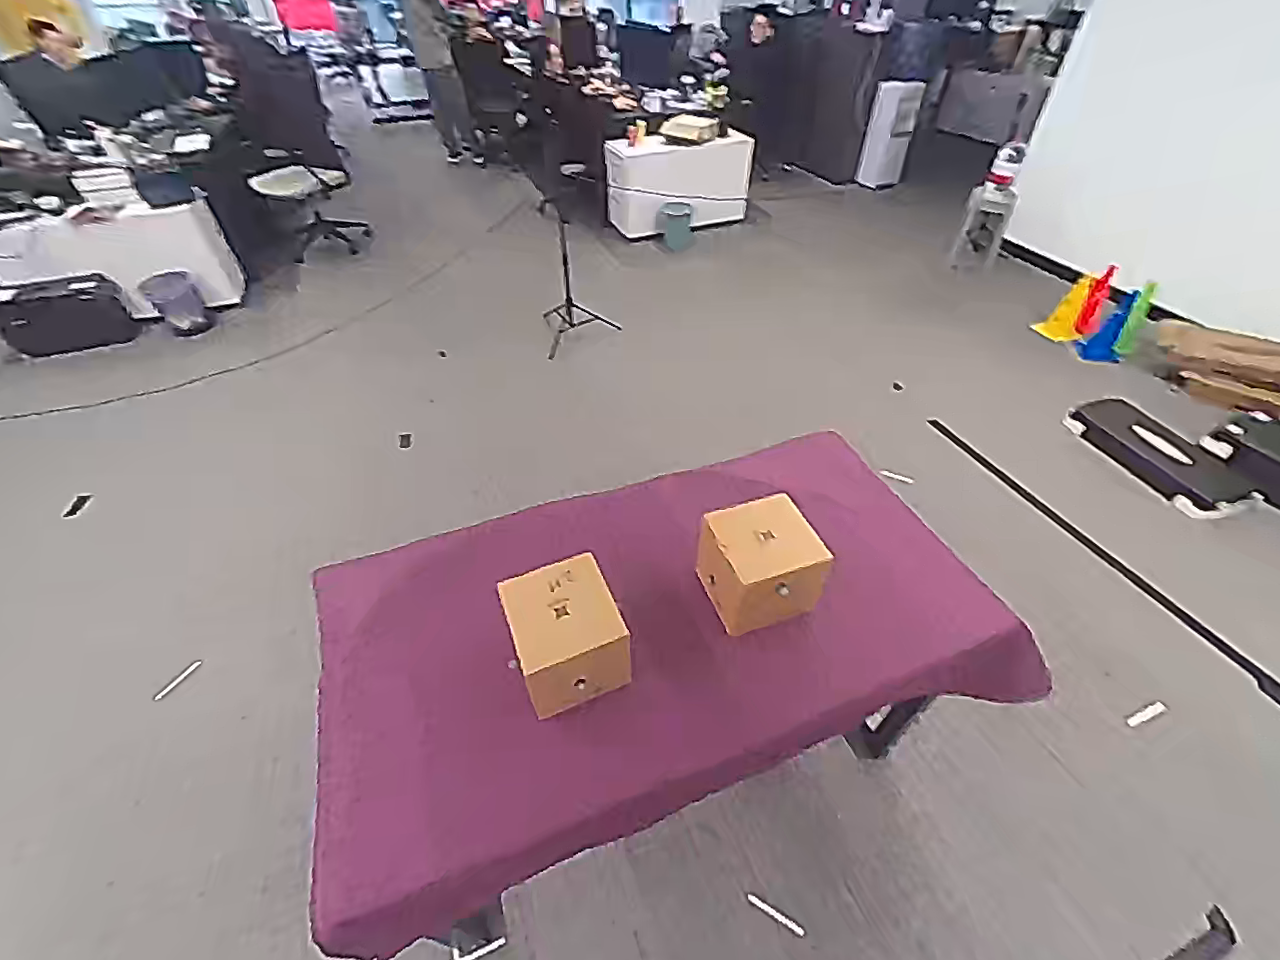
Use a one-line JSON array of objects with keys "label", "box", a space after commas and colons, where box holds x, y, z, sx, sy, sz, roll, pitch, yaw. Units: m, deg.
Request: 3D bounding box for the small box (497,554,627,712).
[{"label": "small box", "box": [-0.126, 0.261, 0.904, 0.168, 0.176, 0.179, -17, 47, -16]}]

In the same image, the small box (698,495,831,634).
[{"label": "small box", "box": [0.220, 0.158, 1.006, 0.179, 0.176, 0.168, -15, 47, -13]}]
